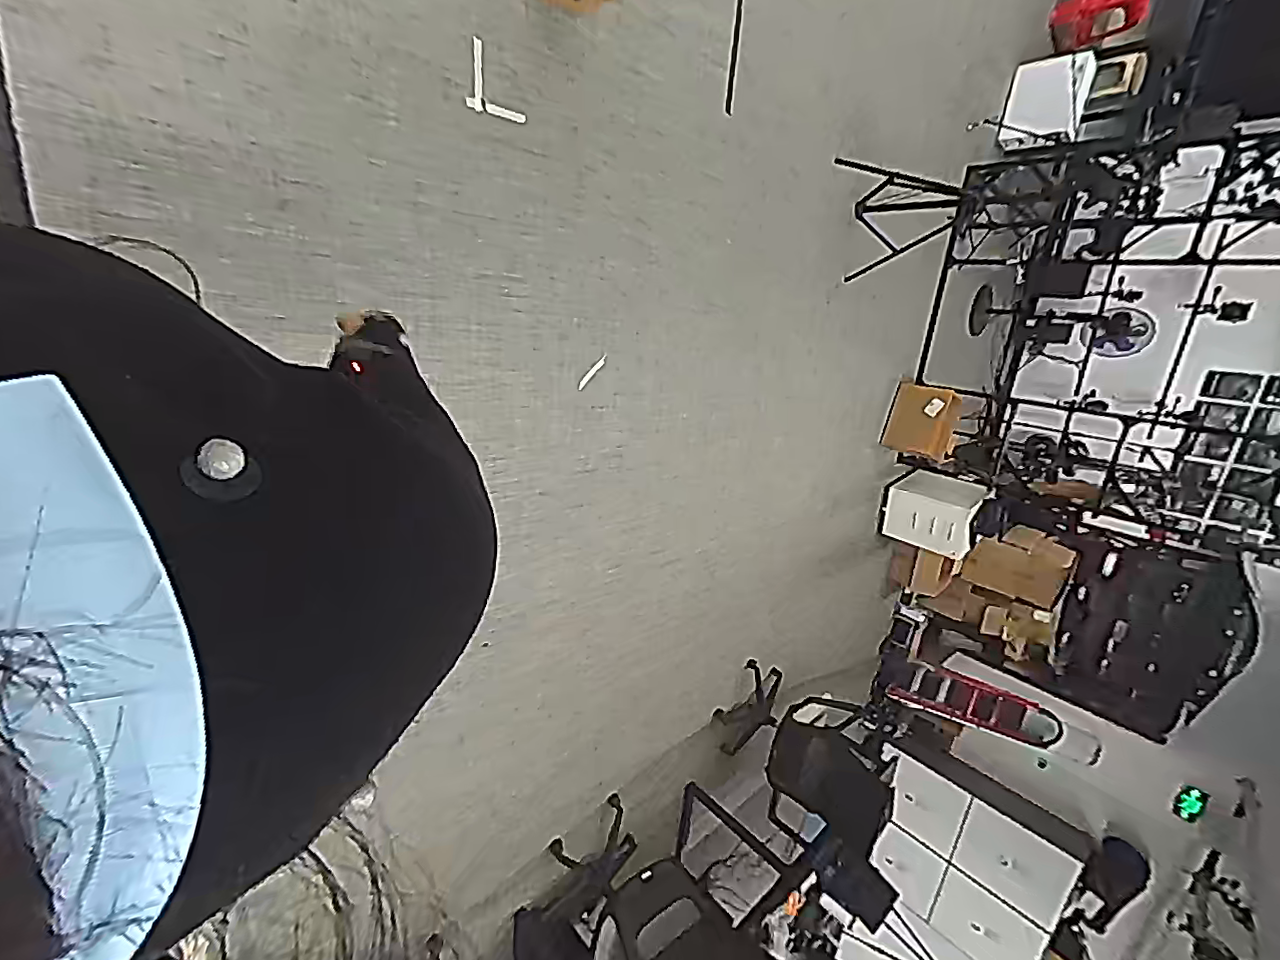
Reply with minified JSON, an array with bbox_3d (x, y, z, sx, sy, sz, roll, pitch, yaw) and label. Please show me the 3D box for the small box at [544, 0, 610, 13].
[{"bbox_3d":[-0.183,-1.343,1.384,0.179,0.176,0.168,-12,114,-42],"label":"small box"}]
